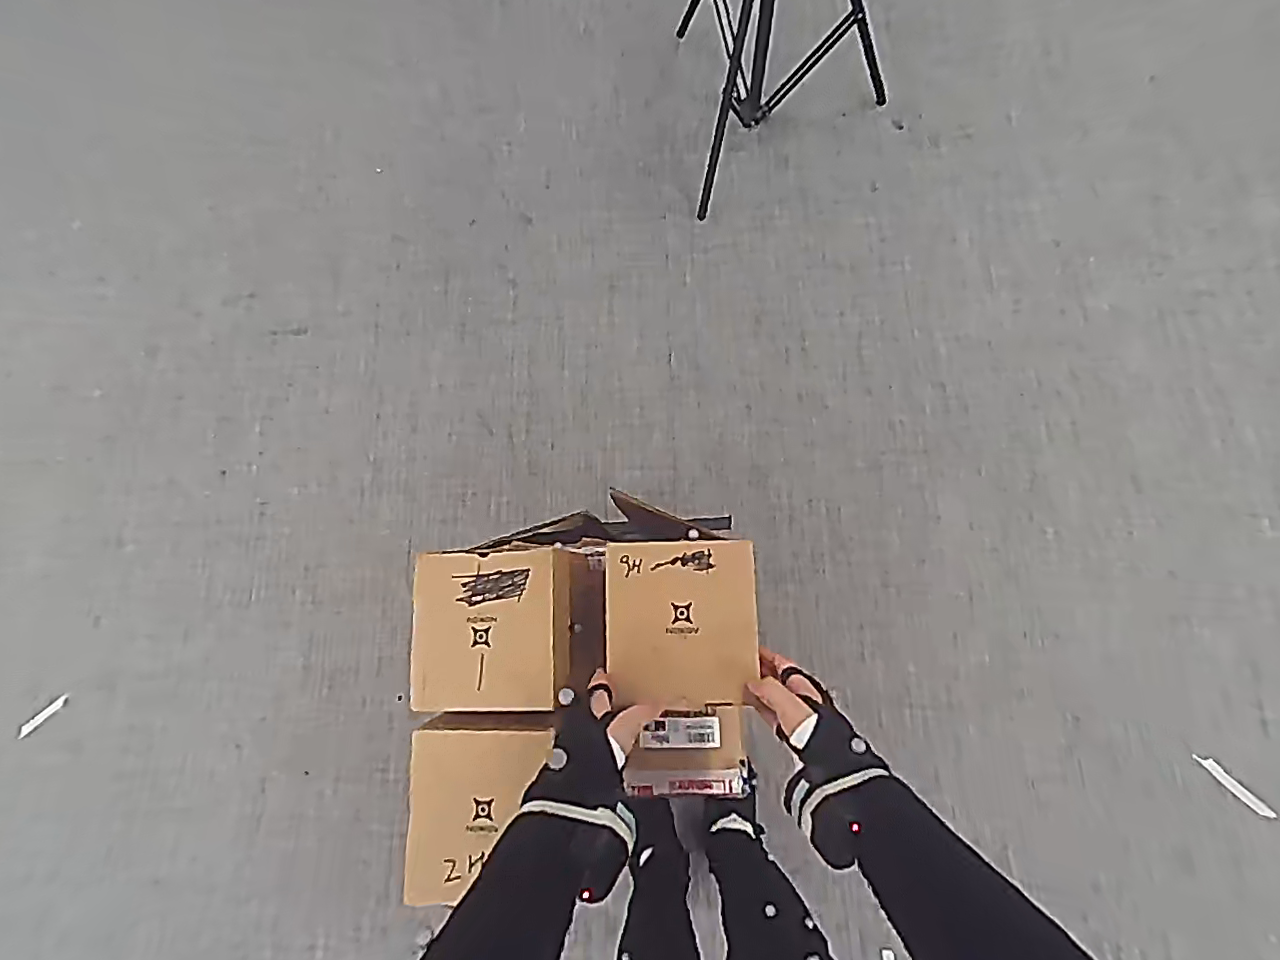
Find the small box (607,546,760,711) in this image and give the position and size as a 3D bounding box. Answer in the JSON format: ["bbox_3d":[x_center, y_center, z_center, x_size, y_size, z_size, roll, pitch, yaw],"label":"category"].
[{"bbox_3d":[0.051,0.171,0.666,0.168,0.176,0.179,-1,81,2],"label":"small box"}]
